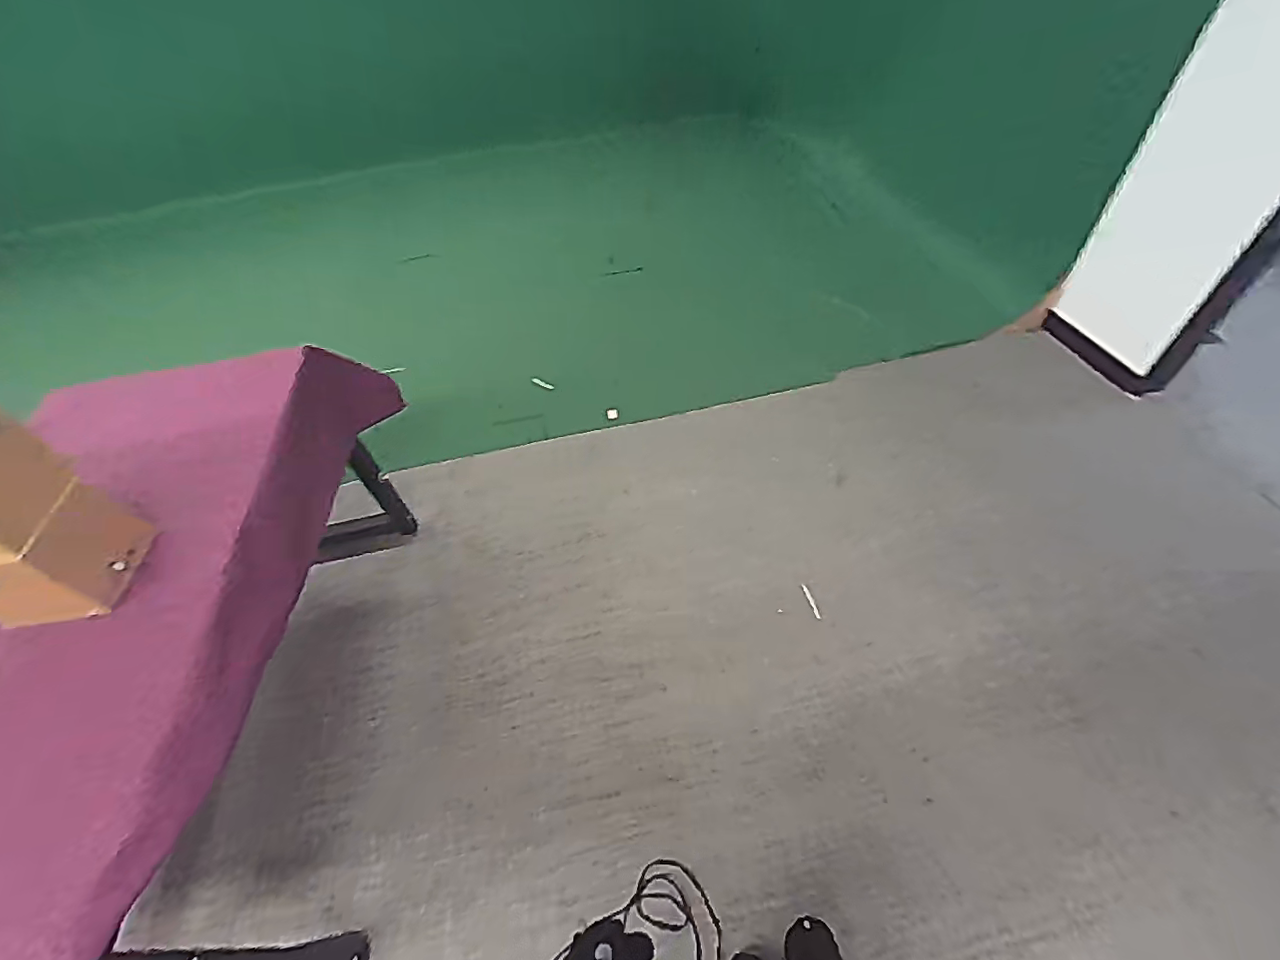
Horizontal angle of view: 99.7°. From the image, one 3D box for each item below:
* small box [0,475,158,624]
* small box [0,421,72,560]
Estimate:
[{"bbox_3d":[-0.949,0.116,0.864,0.179,0.176,0.168,-8,51,0],"label":"small box"},{"bbox_3d":[-0.966,0.009,0.744,0.168,0.176,0.179,-9,51,-1],"label":"small box"}]
